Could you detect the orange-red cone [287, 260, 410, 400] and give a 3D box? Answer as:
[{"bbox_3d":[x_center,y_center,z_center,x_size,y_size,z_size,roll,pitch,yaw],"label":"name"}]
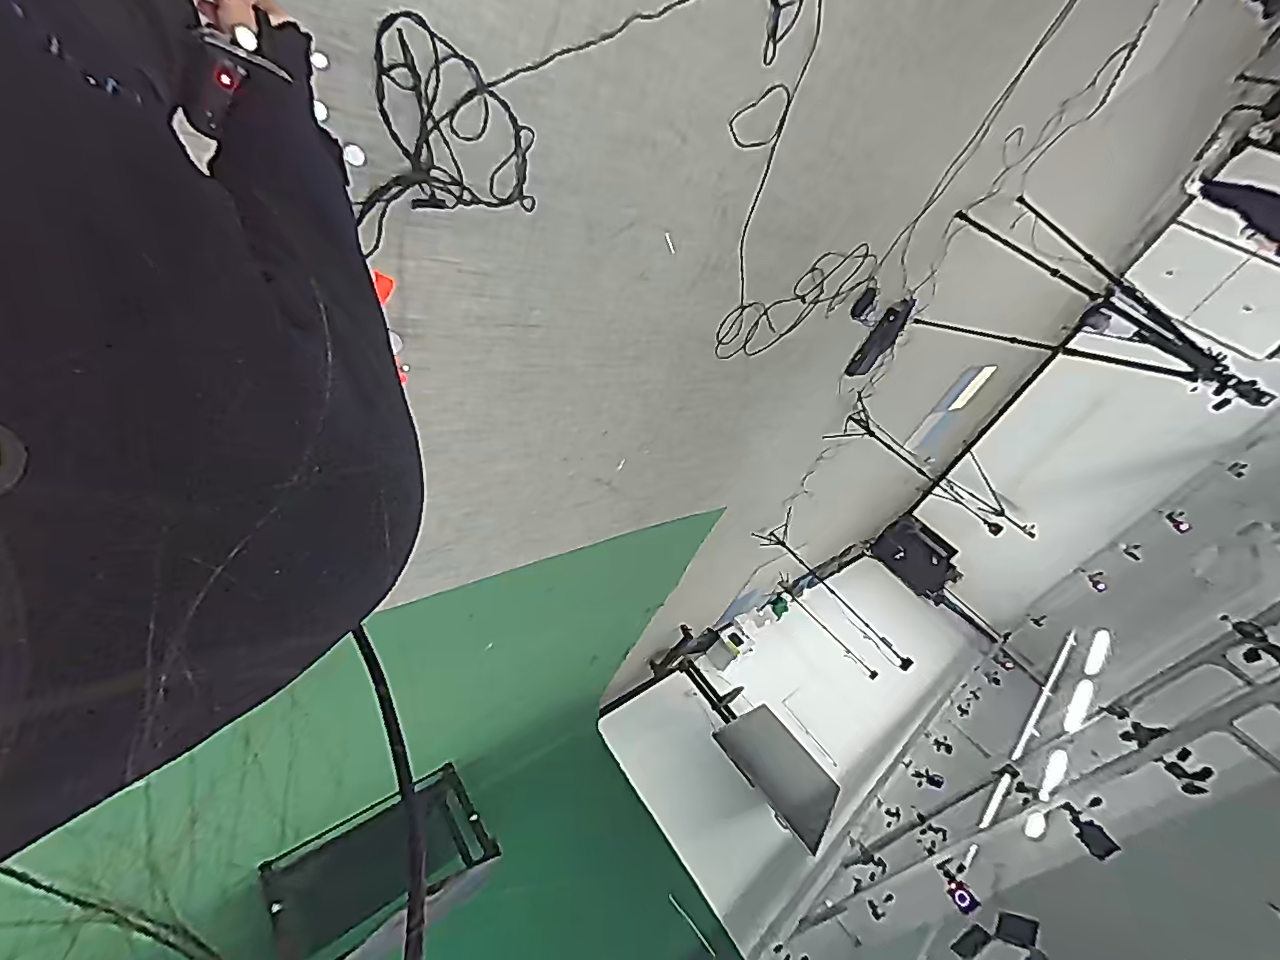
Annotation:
[{"bbox_3d":[-0.605,-0.299,1.215,0.198,0.360,0.199,-51,152,17],"label":"orange-red cone"}]
